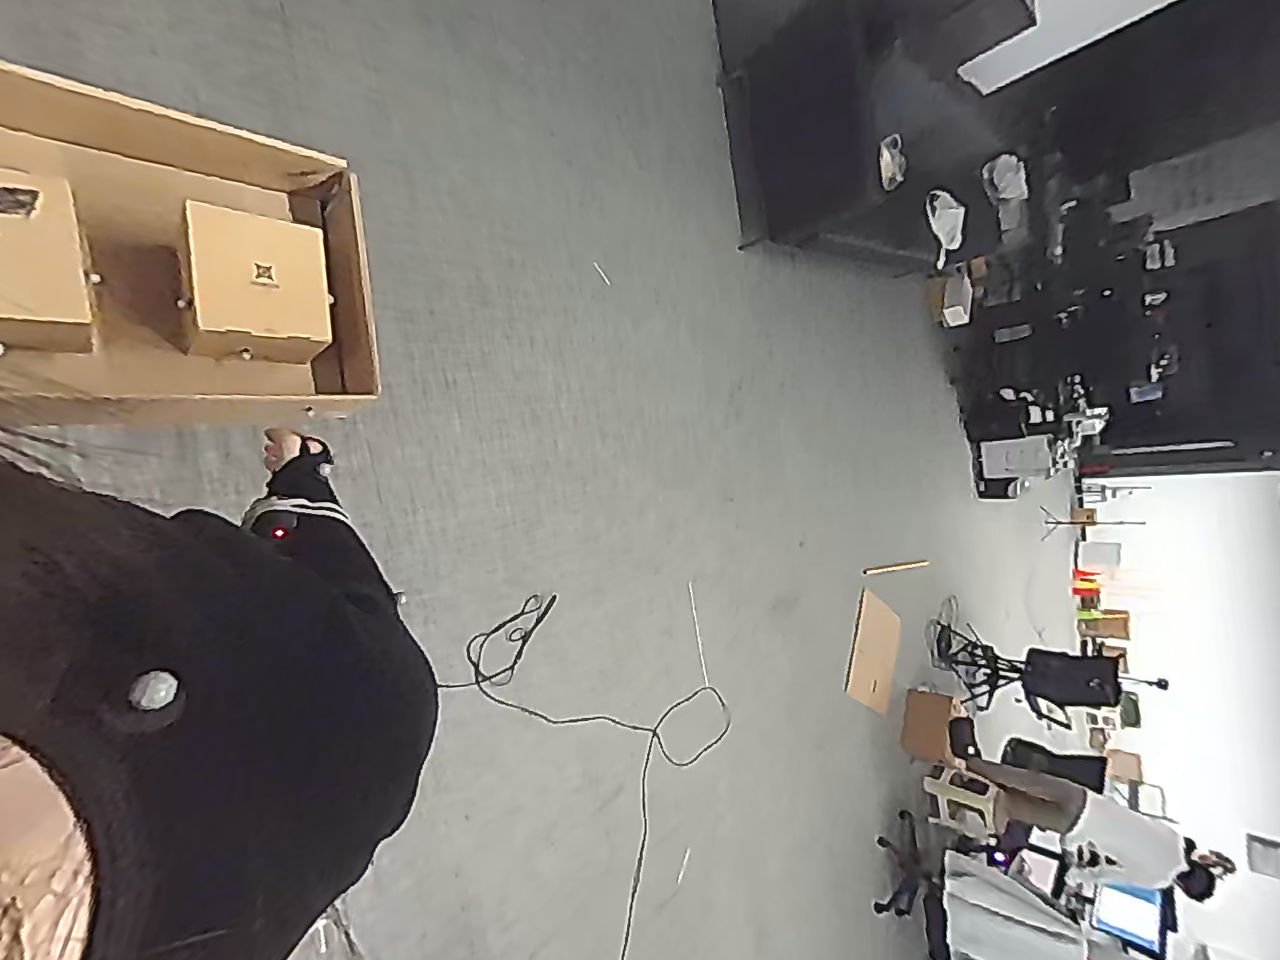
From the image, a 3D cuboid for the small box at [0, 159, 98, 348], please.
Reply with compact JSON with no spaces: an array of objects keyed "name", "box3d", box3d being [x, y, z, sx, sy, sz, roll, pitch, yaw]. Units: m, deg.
[{"name":"small box","box3d":[-0.780,-0.268,0.650,0.168,0.176,0.179,-9,95,-44]}]
